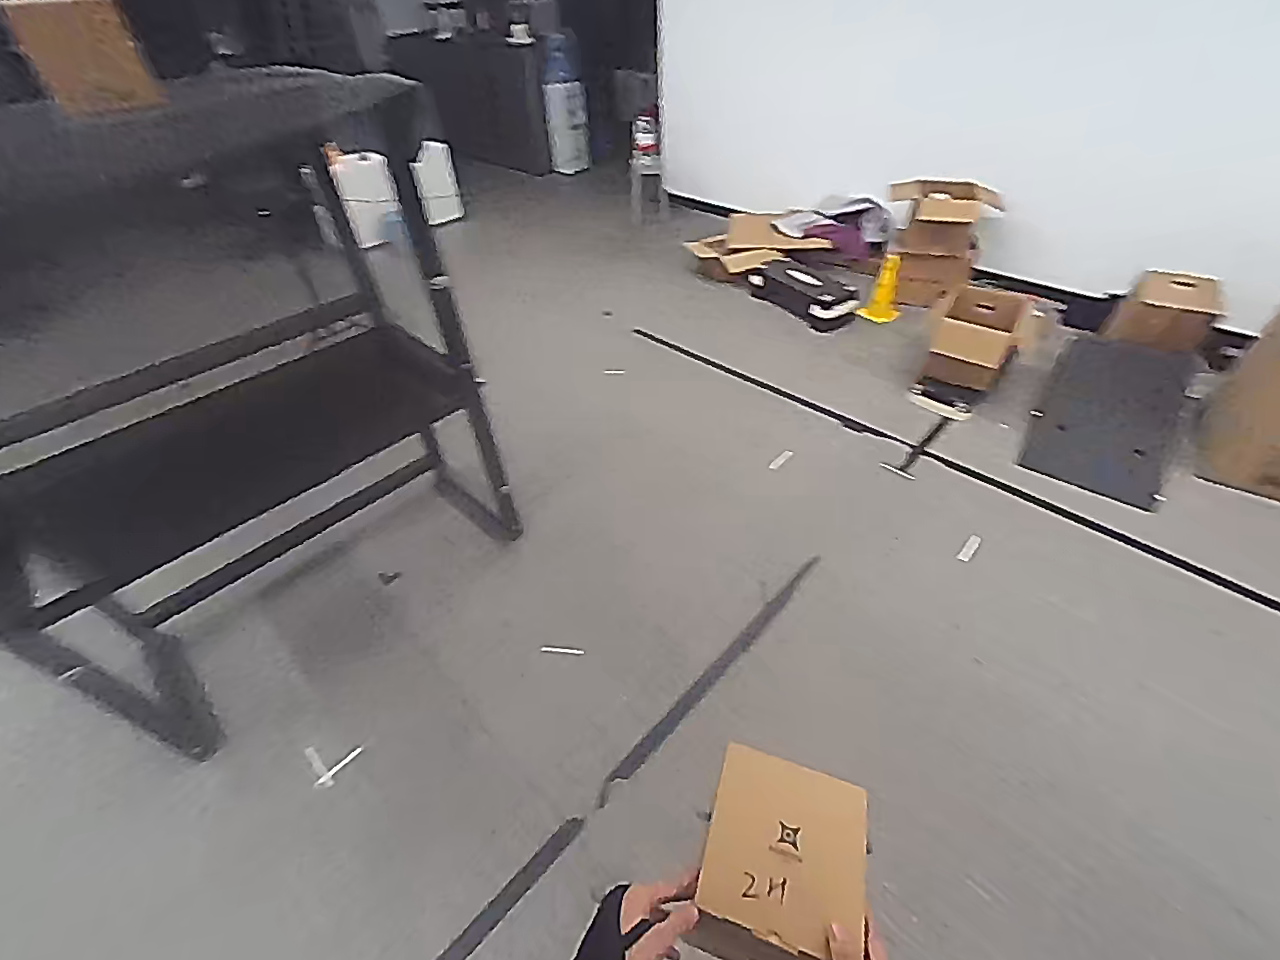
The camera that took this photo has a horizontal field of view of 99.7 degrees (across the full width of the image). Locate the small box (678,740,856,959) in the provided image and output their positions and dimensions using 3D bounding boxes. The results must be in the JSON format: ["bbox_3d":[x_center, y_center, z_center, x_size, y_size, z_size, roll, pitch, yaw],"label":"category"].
[{"bbox_3d":[0.146,0.452,0.641,0.168,0.176,0.179,13,42,13],"label":"small box"}]
